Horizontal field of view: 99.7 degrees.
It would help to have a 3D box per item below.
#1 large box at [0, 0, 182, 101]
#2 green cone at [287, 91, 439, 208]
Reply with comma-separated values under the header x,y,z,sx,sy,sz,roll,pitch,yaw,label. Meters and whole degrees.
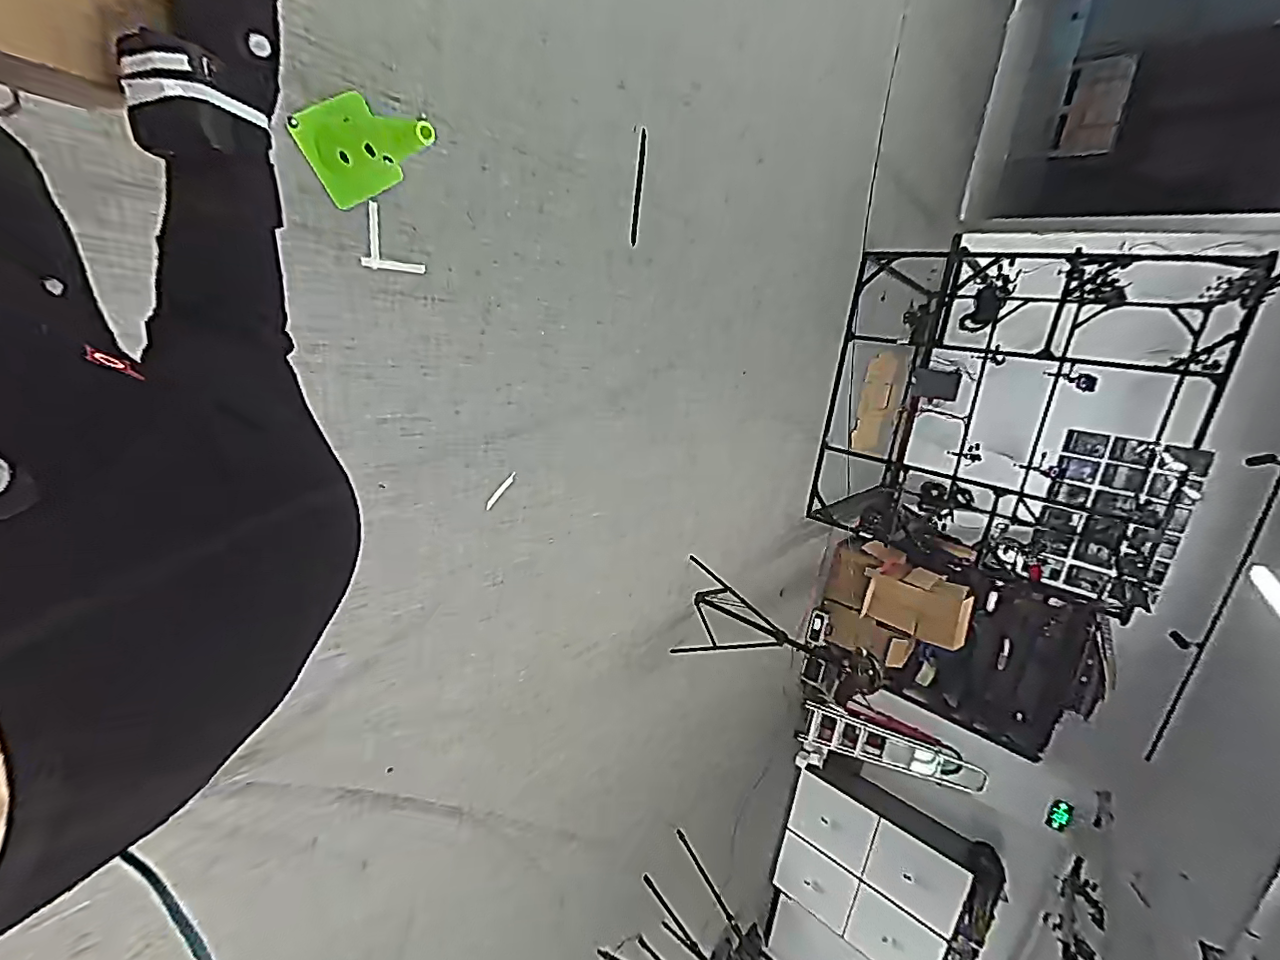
x,y,z,sx,sy,sz,roll,pitch,yaw,label
-0.536,-0.445,0.268,0.408,0.320,0.320,-11,121,-52,large box
-0.561,-0.736,1.182,0.202,0.368,0.200,-51,140,-27,green cone
